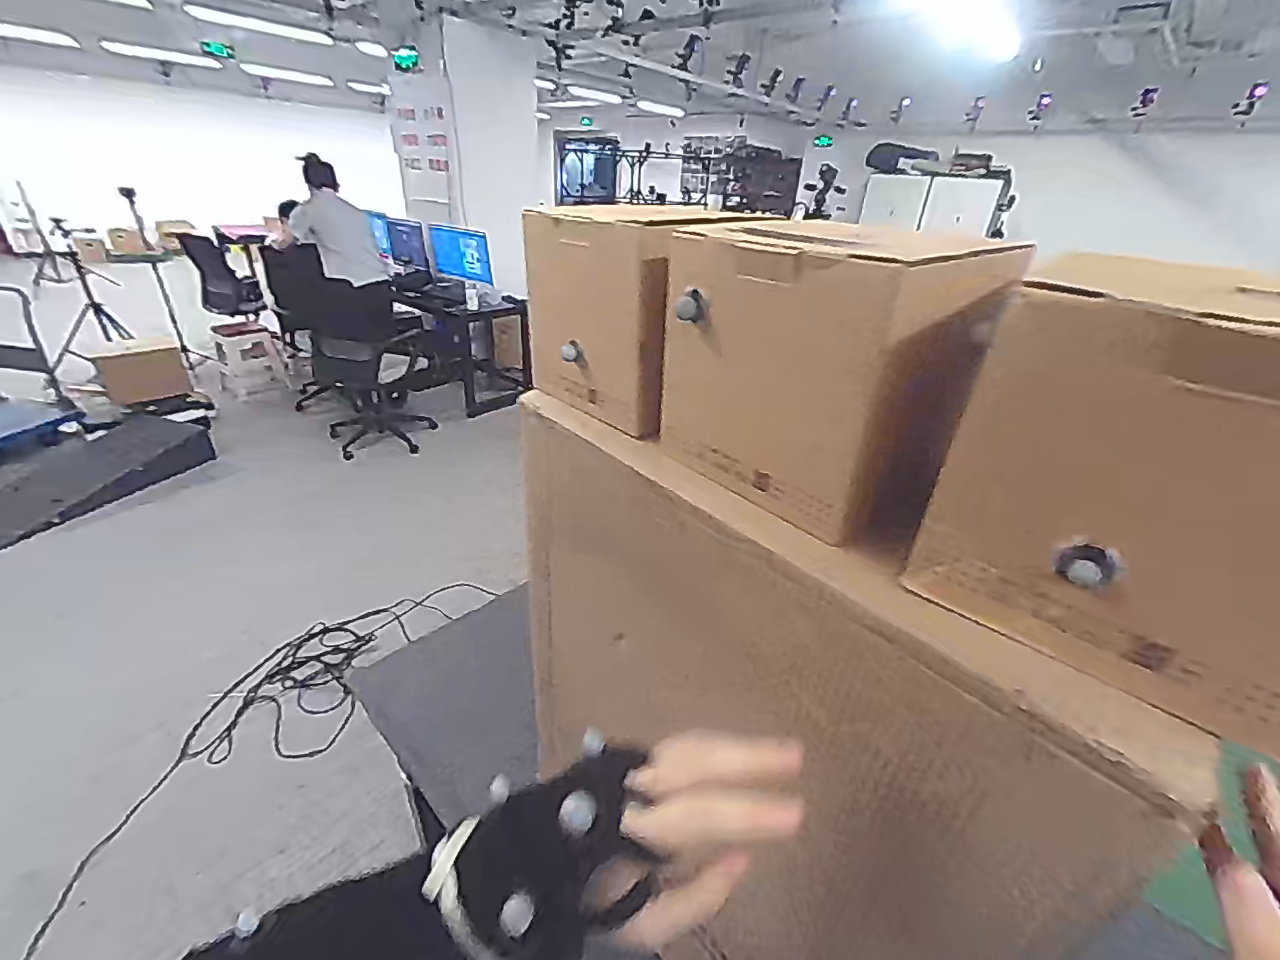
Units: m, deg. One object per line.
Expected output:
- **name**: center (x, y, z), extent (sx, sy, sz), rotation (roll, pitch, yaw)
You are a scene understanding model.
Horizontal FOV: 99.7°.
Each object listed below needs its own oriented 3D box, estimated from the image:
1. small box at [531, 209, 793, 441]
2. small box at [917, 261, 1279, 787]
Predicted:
- **small box**: center (0.015, -0.156, 0.513), extent (0.179, 0.176, 0.168), rotation (-22, 37, -36)
- **small box**: center (0.268, 0.001, 0.274), extent (0.168, 0.176, 0.179), rotation (27, 39, 31)
